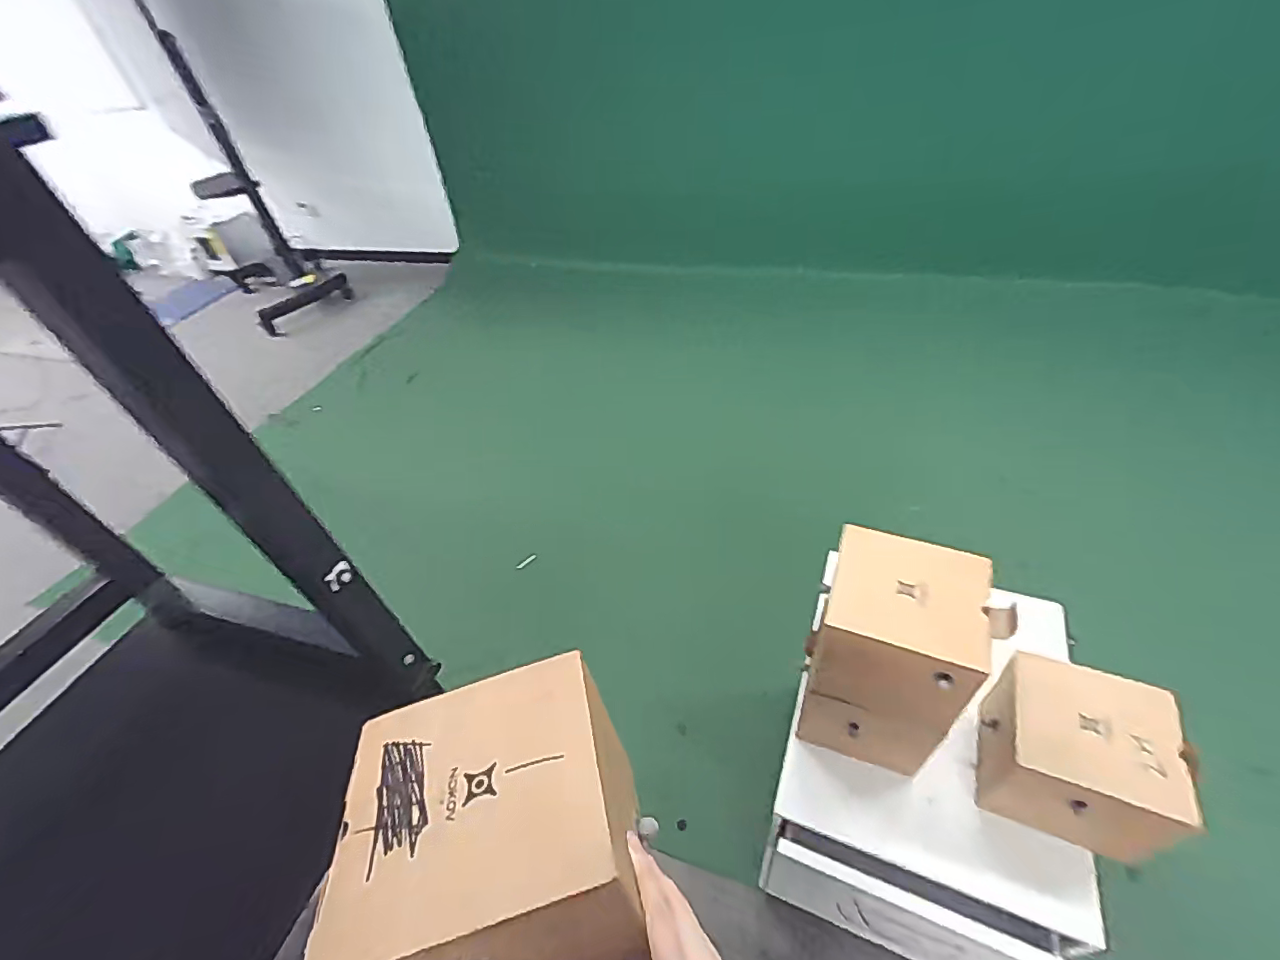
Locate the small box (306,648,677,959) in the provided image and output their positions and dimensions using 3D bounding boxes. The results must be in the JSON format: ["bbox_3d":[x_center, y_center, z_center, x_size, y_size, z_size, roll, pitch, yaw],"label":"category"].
[{"bbox_3d":[-0.088,0.260,0.386,0.179,0.176,0.168,-17,32,-4],"label":"small box"}]

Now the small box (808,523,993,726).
[{"bbox_3d":[0.325,0.186,0.695,0.179,0.176,0.168,13,47,19],"label":"small box"}]

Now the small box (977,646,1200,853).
[{"bbox_3d":[0.566,0.356,0.714,0.179,0.176,0.168,13,48,22],"label":"small box"}]

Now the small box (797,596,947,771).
[{"bbox_3d":[0.340,0.304,0.807,0.179,0.176,0.168,11,47,19],"label":"small box"}]
